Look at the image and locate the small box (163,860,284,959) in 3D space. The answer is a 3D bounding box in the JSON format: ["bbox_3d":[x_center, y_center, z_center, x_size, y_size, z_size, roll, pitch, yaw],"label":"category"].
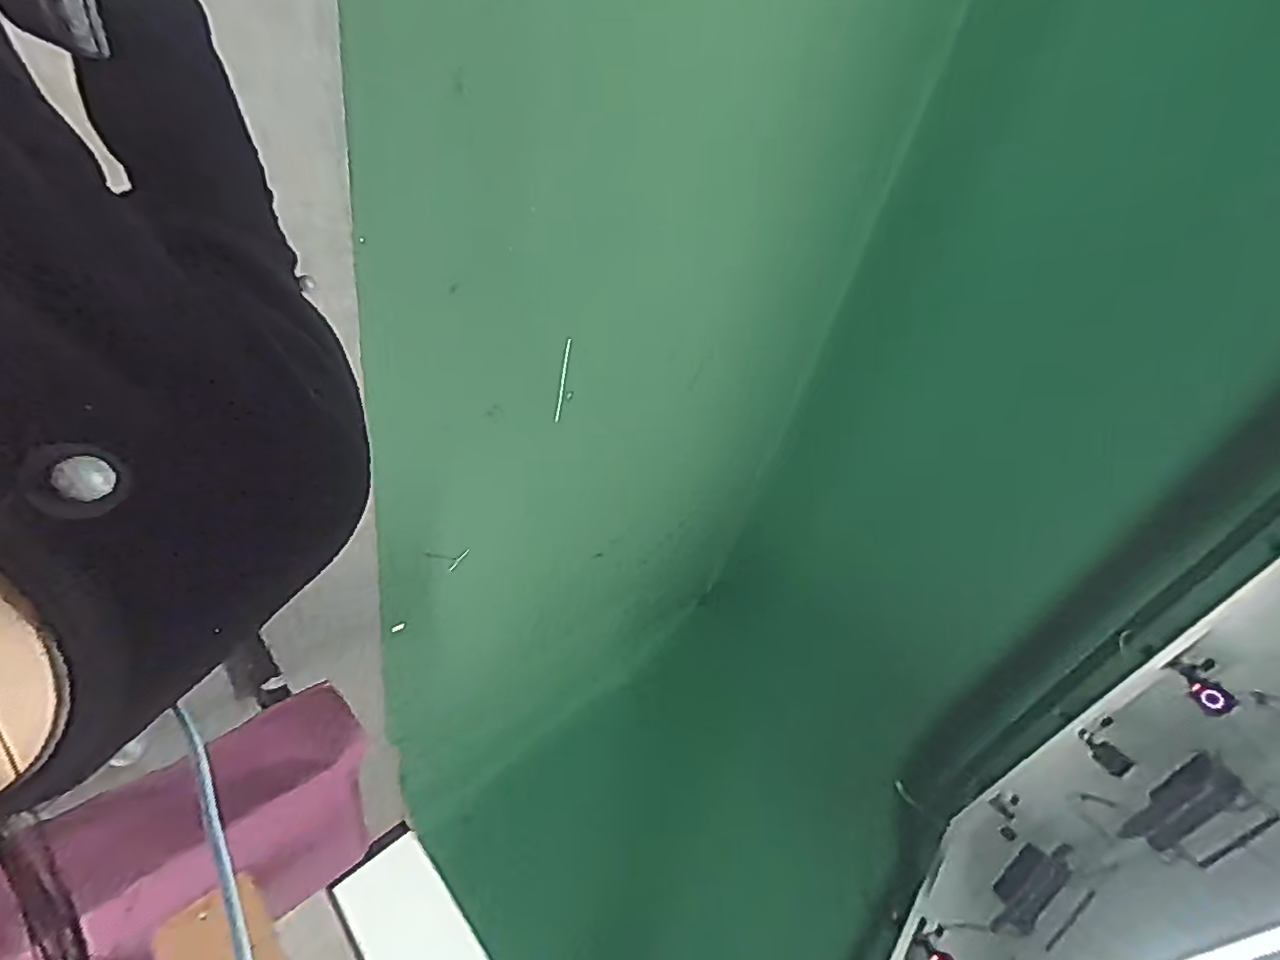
[{"bbox_3d":[-0.955,1.032,1.240,0.179,0.176,0.168,-25,142,-39],"label":"small box"}]

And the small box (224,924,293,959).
[{"bbox_3d":[-0.842,1.122,1.160,0.179,0.176,0.168,-26,142,-40],"label":"small box"}]
